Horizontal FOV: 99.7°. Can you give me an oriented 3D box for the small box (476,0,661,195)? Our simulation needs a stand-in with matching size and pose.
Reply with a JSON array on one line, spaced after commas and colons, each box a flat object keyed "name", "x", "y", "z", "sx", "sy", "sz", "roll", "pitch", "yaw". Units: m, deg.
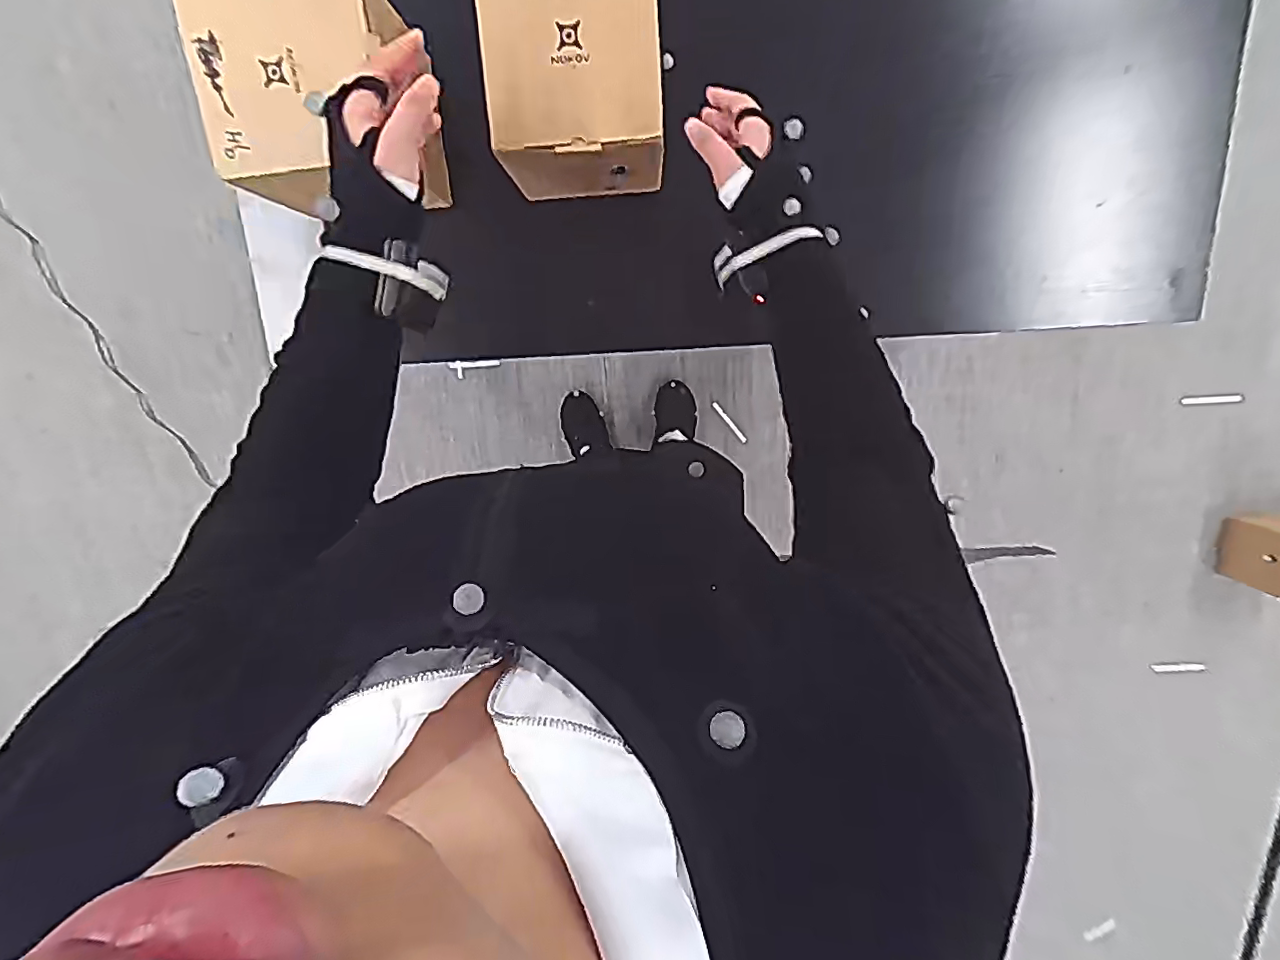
[{"name": "small box", "x": -0.065, "y": -0.417, "z": 0.574, "sx": 0.168, "sy": 0.176, "sz": 0.179, "roll": -4, "pitch": 102, "yaw": 0}]

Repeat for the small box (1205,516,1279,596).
[{"name": "small box", "x": 1.701, "y": 0.200, "z": 1.461, "sx": 0.168, "sy": 0.176, "sz": 0.179, "roll": -3, "pitch": 104, "yaw": 2}]

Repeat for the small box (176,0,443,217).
[{"name": "small box", "x": -0.326, "y": -0.394, "z": 0.577, "sx": 0.179, "sy": 0.176, "sz": 0.168, "roll": -6, "pitch": 103, "yaw": 0}]

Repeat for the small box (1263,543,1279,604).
[{"name": "small box", "x": 1.694, "y": 0.242, "z": 1.302, "sx": 0.179, "sy": 0.176, "sz": 0.168, "roll": -3, "pitch": 103, "yaw": 2}]
